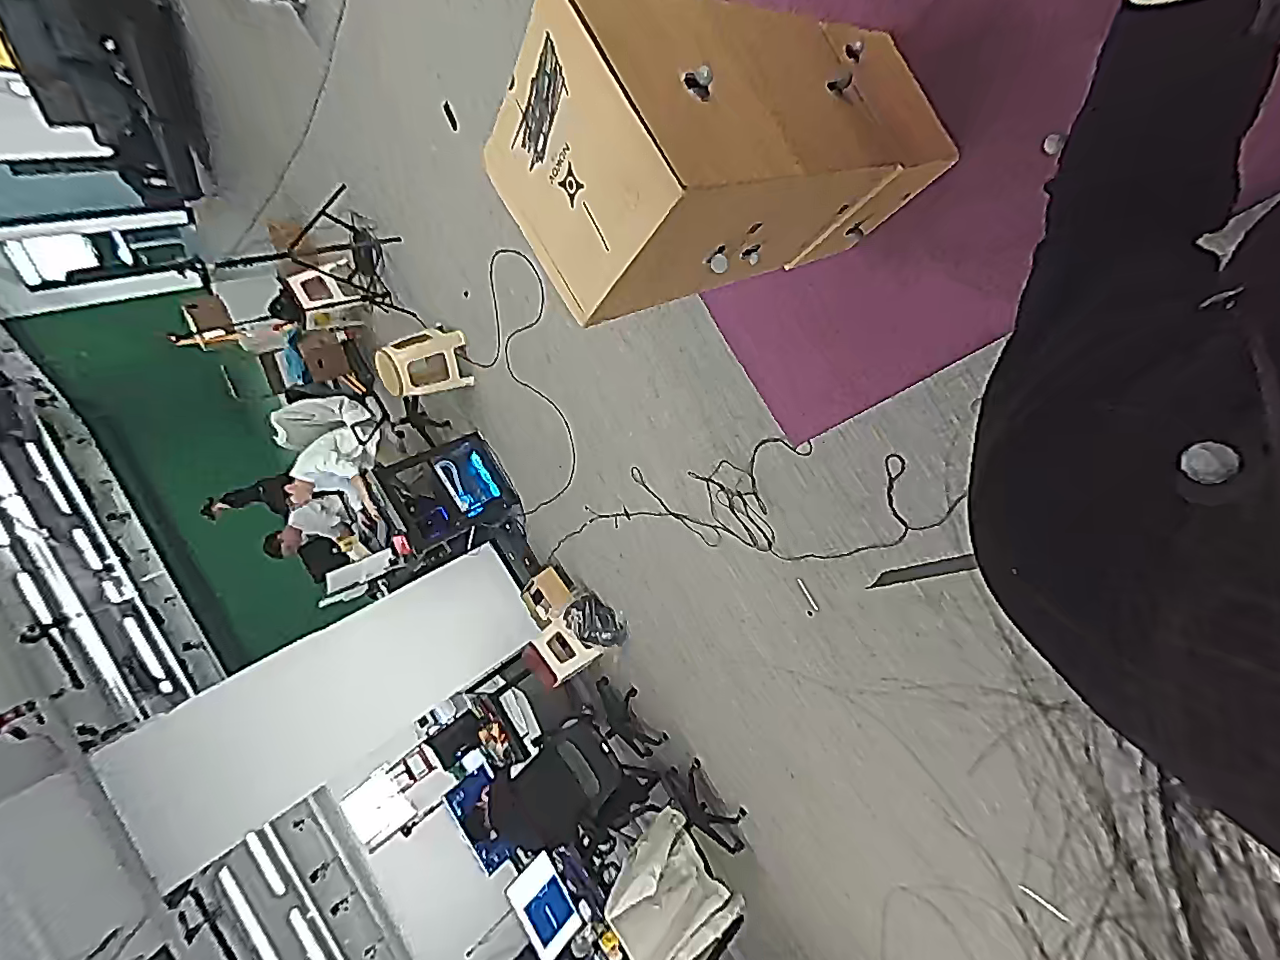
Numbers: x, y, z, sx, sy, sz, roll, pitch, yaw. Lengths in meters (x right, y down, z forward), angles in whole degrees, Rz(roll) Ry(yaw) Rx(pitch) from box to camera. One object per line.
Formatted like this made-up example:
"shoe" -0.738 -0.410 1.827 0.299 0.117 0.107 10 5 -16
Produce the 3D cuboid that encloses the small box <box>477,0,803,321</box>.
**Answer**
"small box" -0.002 -0.266 0.453 0.179 0.176 0.168 59 144 1

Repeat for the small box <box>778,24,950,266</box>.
"small box" 0.230 -0.394 0.648 0.179 0.176 0.168 60 144 1

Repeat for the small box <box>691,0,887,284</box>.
"small box" 0.111 -0.332 0.553 0.179 0.176 0.168 60 145 2
